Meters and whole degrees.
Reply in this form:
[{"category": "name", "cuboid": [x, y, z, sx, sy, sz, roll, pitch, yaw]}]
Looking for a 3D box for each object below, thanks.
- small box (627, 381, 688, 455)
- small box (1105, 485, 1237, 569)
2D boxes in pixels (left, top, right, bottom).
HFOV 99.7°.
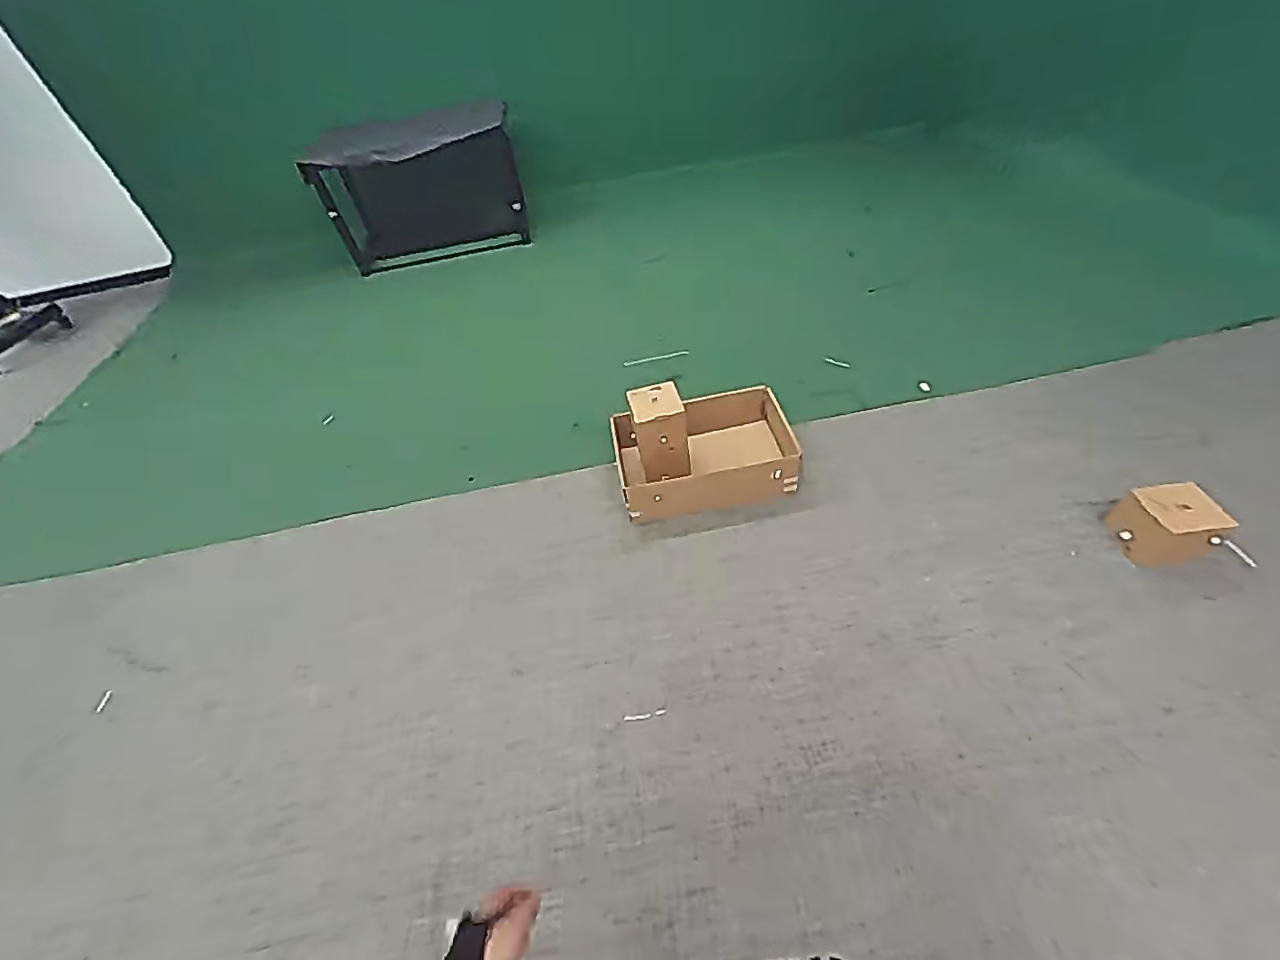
[{"category": "small box", "cuboid": [0.062, -0.201, 1.828, 0.168, 0.176, 0.179, -13, 48, -2]}, {"category": "small box", "cuboid": [1.504, 0.136, 1.547, 0.179, 0.176, 0.168, -8, 46, 3]}]
